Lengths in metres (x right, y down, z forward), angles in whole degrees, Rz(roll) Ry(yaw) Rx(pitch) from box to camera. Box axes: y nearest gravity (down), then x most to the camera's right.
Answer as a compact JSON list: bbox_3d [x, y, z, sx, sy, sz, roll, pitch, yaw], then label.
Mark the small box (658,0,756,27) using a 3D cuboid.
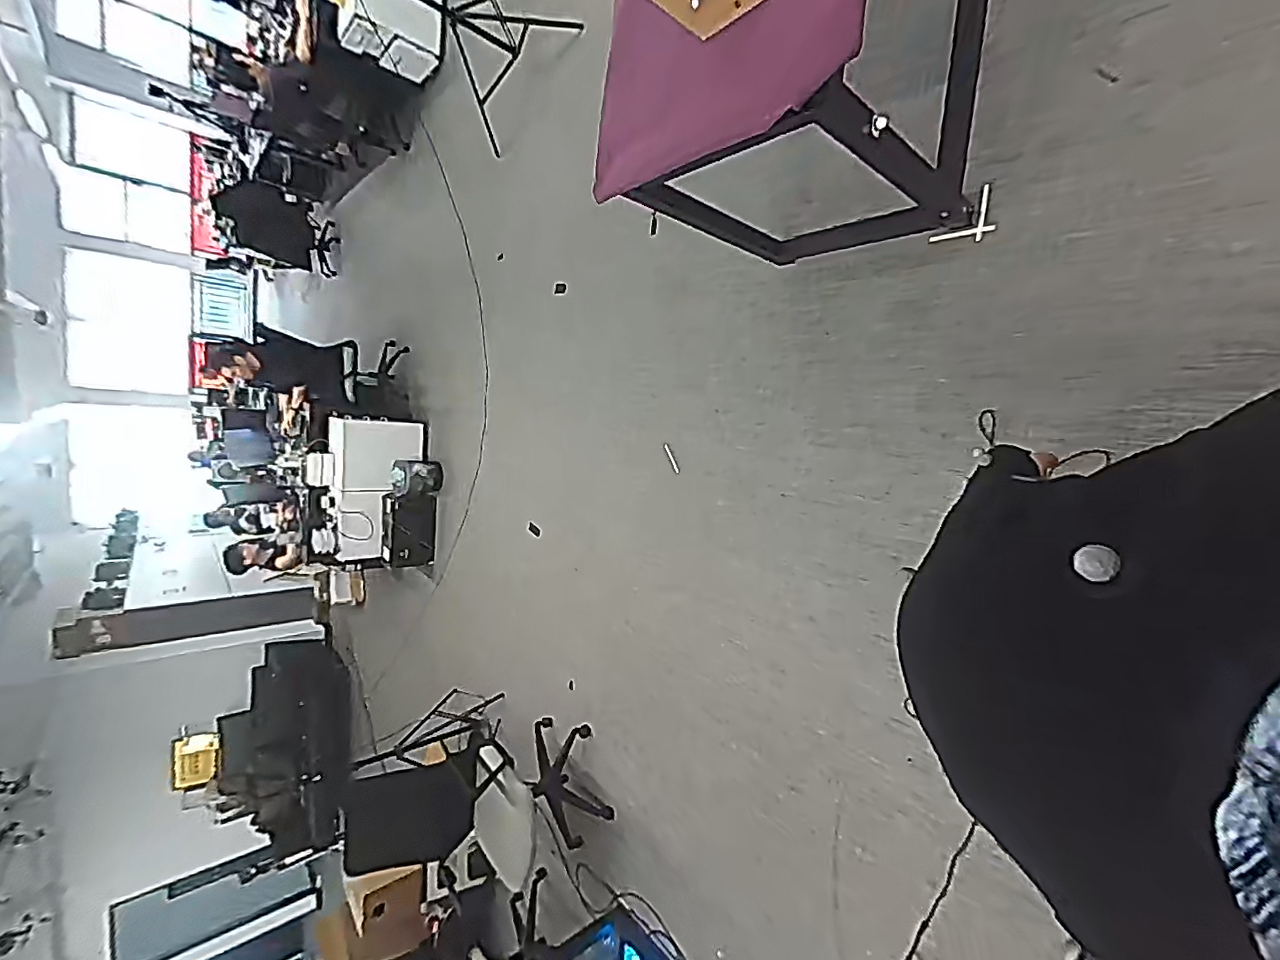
[{"bbox_3d":[0.130,-0.956,0.955,0.168,0.176,0.179,8,96,49],"label":"small box"}]
